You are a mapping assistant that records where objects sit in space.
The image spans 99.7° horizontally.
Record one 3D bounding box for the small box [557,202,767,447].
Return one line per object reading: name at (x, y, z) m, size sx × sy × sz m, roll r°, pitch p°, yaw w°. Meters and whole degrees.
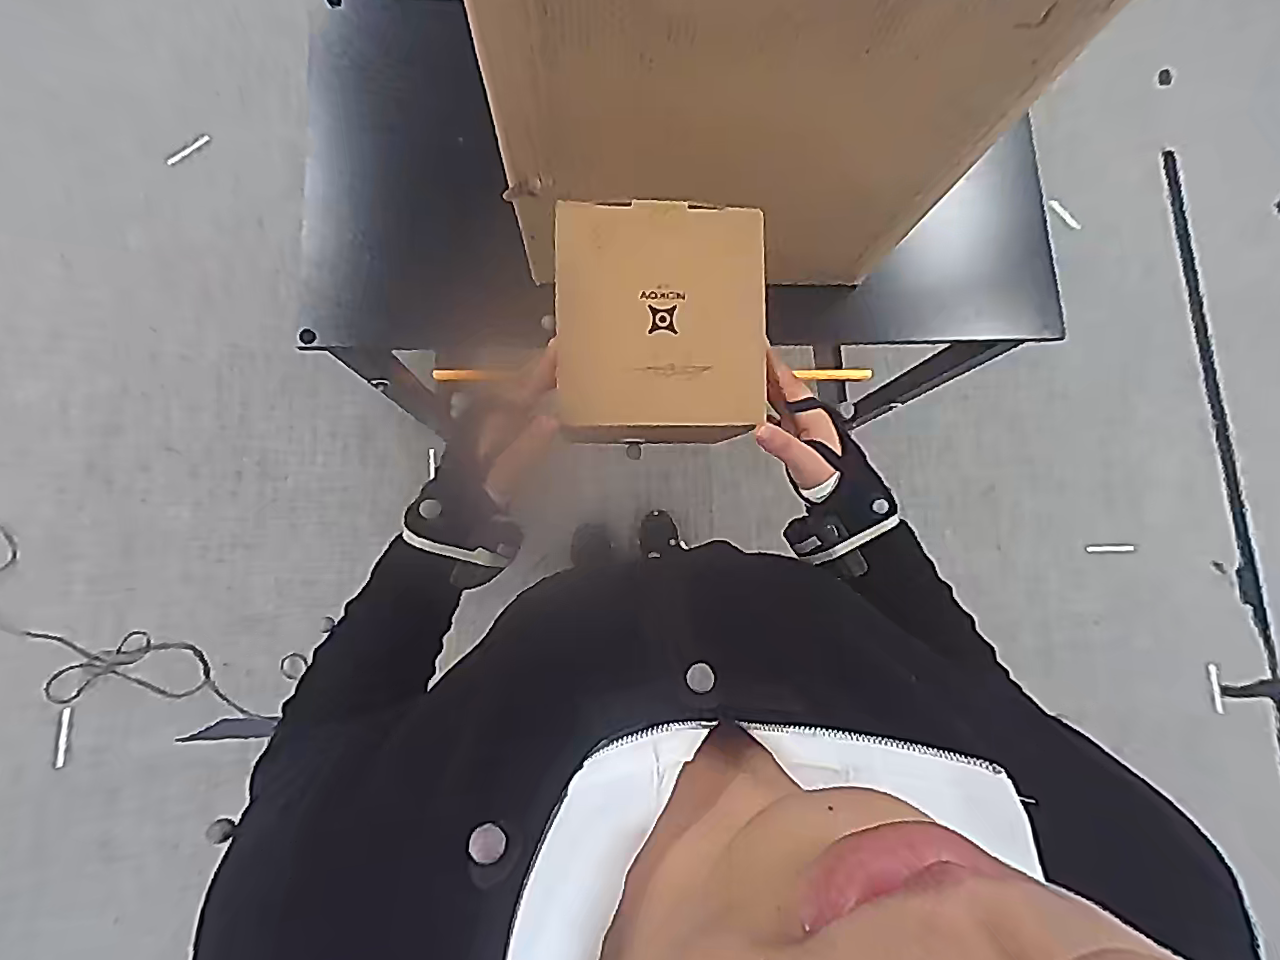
small box at (0.010, -0.125, 0.499) m, size 0.168 × 0.176 × 0.179 m, roll -1°, pitch 89°, yaw -5°
